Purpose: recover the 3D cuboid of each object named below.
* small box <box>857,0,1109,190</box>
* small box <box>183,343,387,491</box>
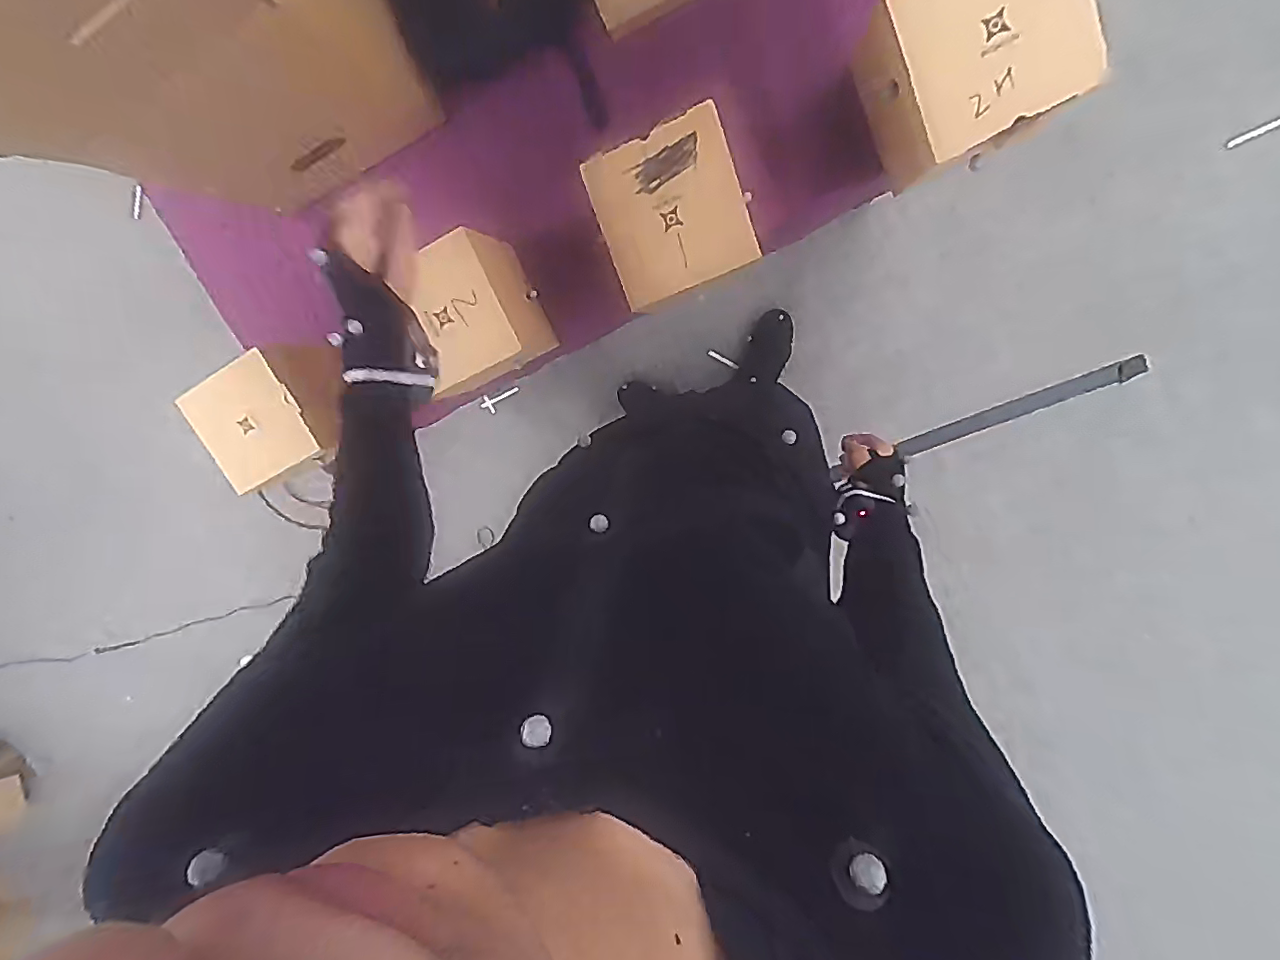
[{"bbox_3d":[0.361,-0.461,0.604,0.168,0.176,0.179,-22,102,17],"label":"small box"},{"bbox_3d":[-0.552,-0.106,0.864,0.179,0.176,0.168,-25,101,14],"label":"small box"}]
